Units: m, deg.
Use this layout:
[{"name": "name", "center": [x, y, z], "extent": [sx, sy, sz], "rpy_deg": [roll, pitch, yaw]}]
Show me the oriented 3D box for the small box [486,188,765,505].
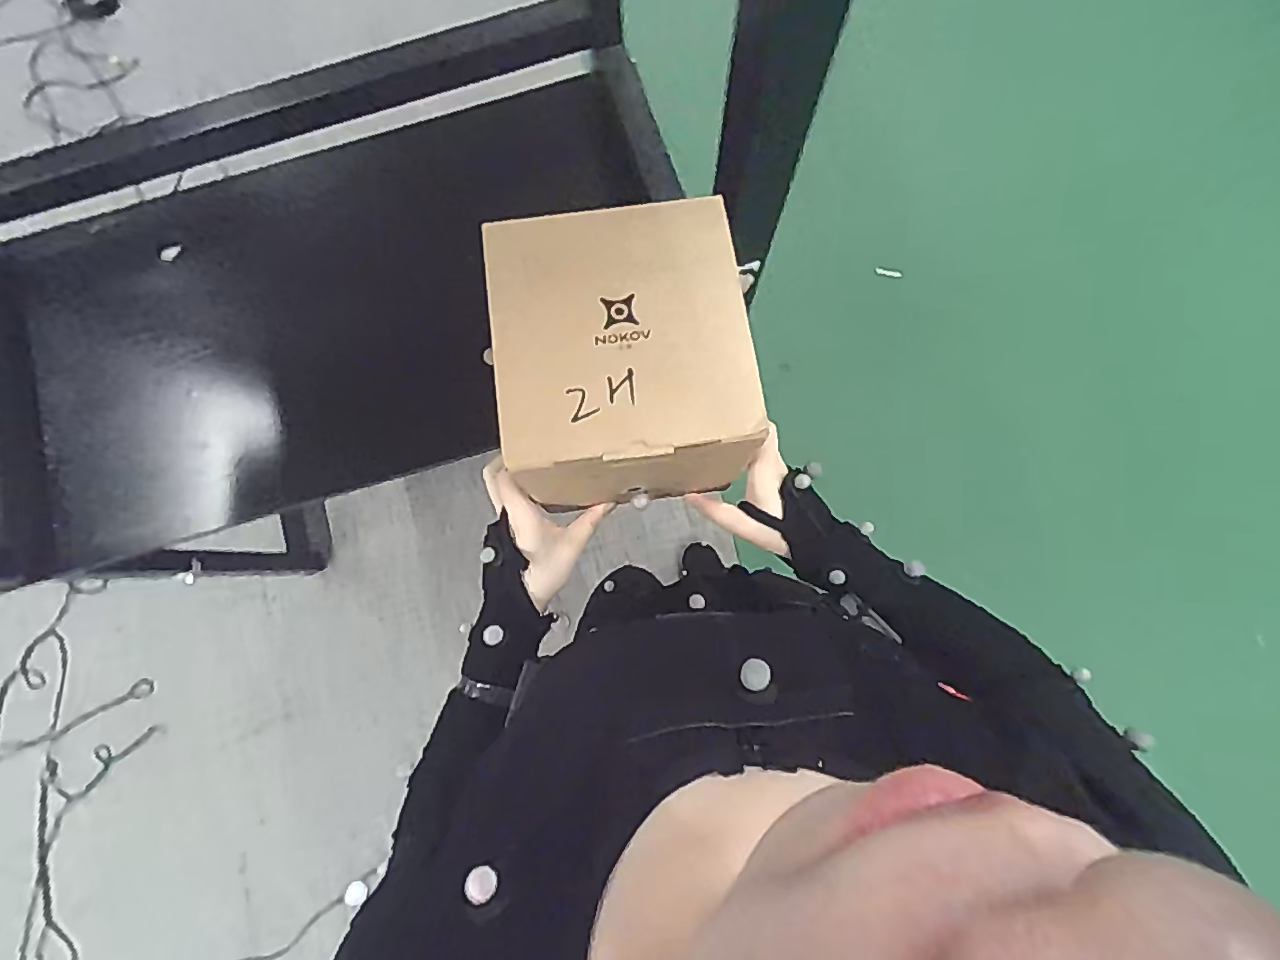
[{"name": "small box", "center": [-0.013, -0.086, 0.419], "extent": [0.168, 0.176, 0.179], "rpy_deg": [-7, 79, 0]}]
